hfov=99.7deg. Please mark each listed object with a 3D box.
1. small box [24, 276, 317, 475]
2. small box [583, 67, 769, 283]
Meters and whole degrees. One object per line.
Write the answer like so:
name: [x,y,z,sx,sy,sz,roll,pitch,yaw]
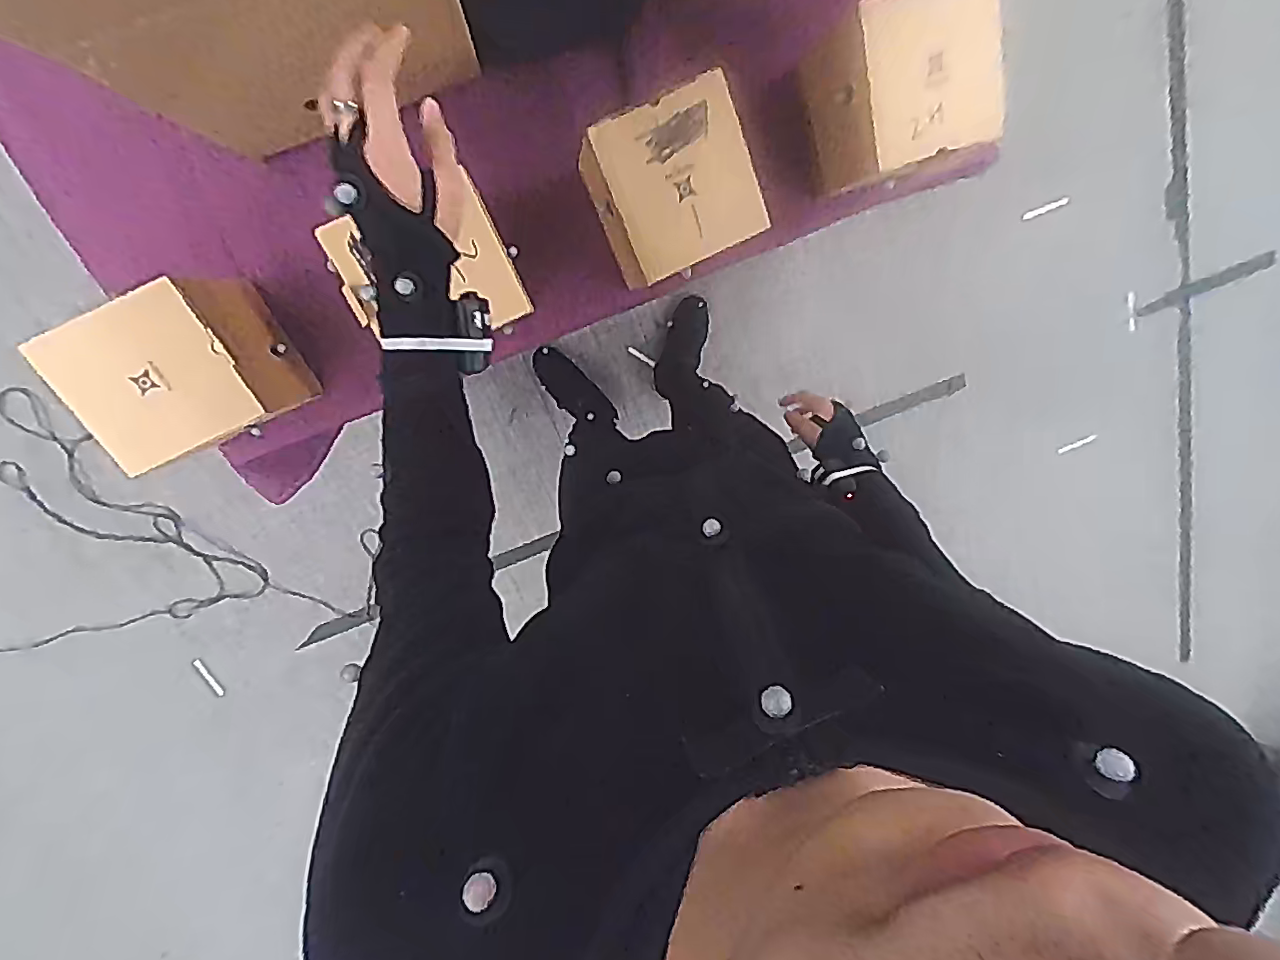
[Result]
small box: [-0.548,-0.132,0.667,0.179,0.176,0.168,-27,110,-2]
small box: [0.035,-0.366,0.687,0.168,0.176,0.179,-25,111,0]
